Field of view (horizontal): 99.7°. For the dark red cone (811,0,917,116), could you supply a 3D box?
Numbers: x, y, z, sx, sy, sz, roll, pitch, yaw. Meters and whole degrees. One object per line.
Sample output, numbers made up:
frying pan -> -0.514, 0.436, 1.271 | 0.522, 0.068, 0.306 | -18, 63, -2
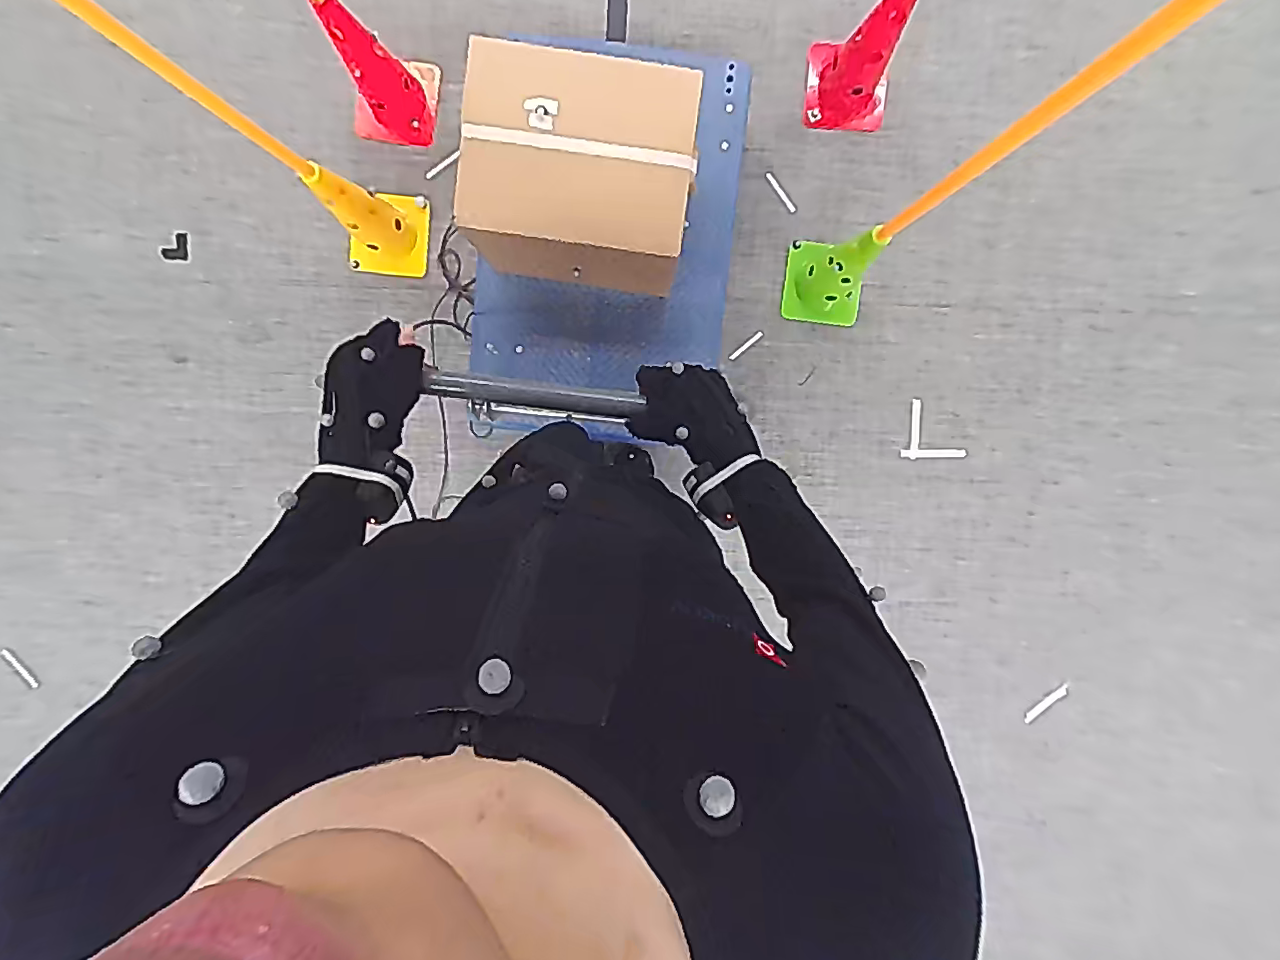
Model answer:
dark red cone -> 0.525, -0.987, 1.166 | 0.201, 0.394, 0.202 | 2, 96, -2

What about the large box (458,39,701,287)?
large box -> -0.104, -0.597, 1.087 | 0.408, 0.320, 0.320 | 8, 96, 0

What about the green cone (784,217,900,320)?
green cone -> 0.483, -0.508, 1.233 | 0.202, 0.368, 0.200 | 6, 96, -1

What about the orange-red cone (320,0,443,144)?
orange-red cone -> -0.608, -0.955, 1.202 | 0.198, 0.360, 0.199 | 10, 95, -1
